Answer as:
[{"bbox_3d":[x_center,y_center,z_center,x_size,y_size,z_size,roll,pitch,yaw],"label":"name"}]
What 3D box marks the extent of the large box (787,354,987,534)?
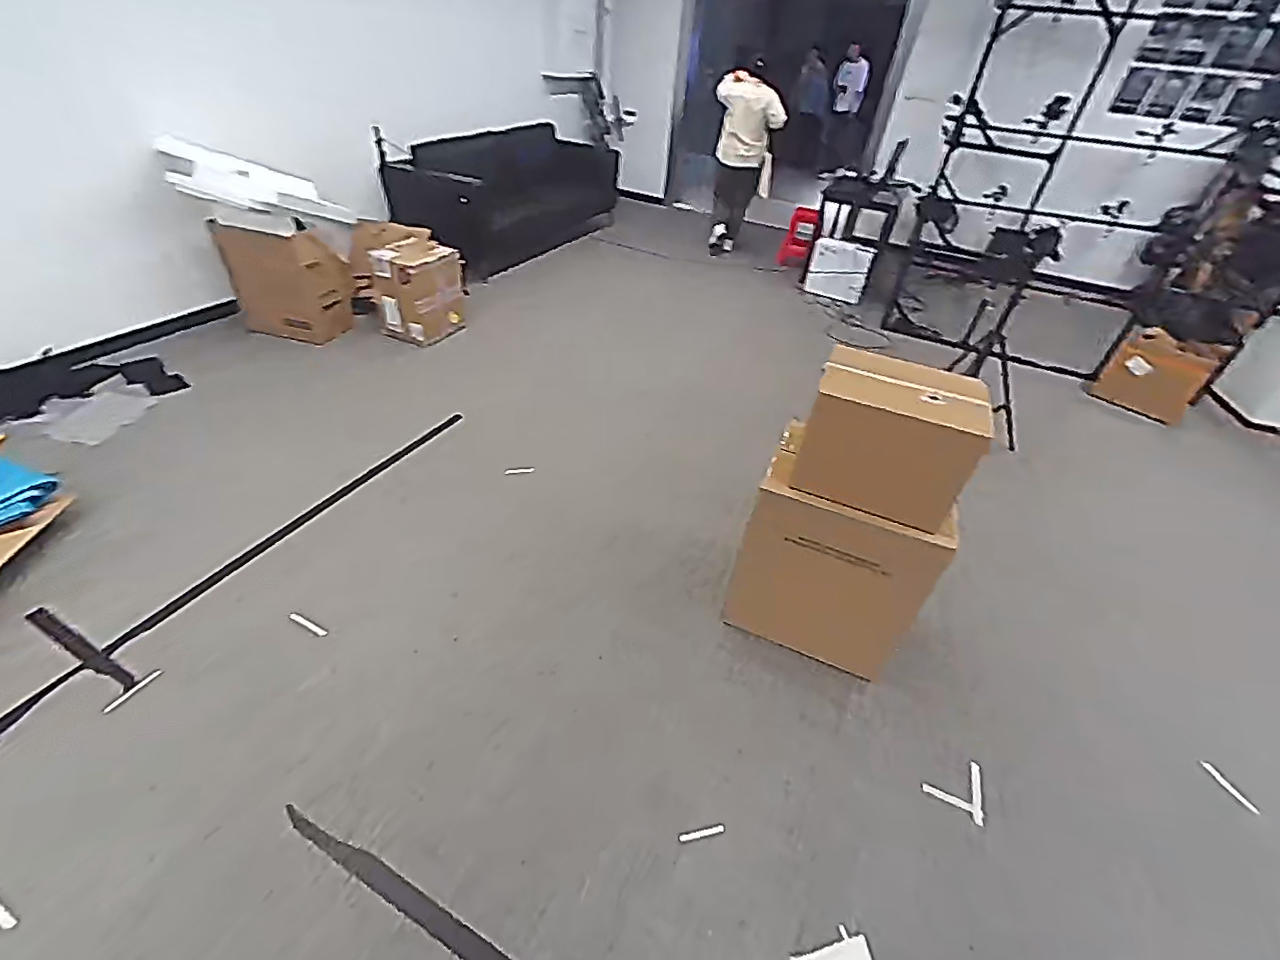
[{"bbox_3d":[0.661,-0.109,1.497,0.408,0.320,0.320,19,41,15],"label":"large box"}]
